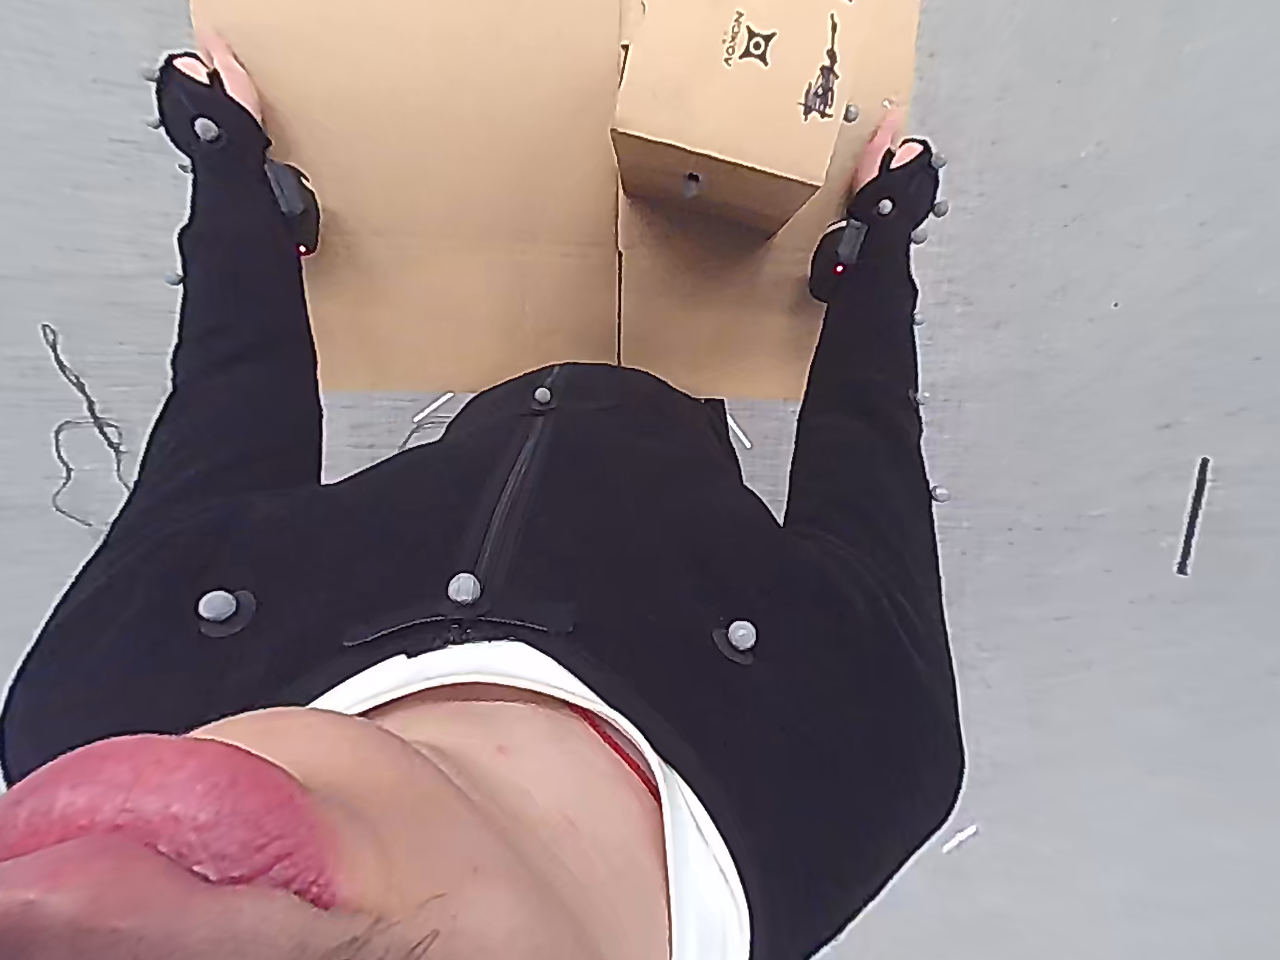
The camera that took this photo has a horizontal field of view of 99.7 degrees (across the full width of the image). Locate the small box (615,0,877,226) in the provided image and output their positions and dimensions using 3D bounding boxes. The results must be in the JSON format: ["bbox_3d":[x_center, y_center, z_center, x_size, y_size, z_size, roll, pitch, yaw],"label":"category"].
[{"bbox_3d":[0.087,-0.352,0.494,0.179,0.176,0.168,15,103,0],"label":"small box"}]
